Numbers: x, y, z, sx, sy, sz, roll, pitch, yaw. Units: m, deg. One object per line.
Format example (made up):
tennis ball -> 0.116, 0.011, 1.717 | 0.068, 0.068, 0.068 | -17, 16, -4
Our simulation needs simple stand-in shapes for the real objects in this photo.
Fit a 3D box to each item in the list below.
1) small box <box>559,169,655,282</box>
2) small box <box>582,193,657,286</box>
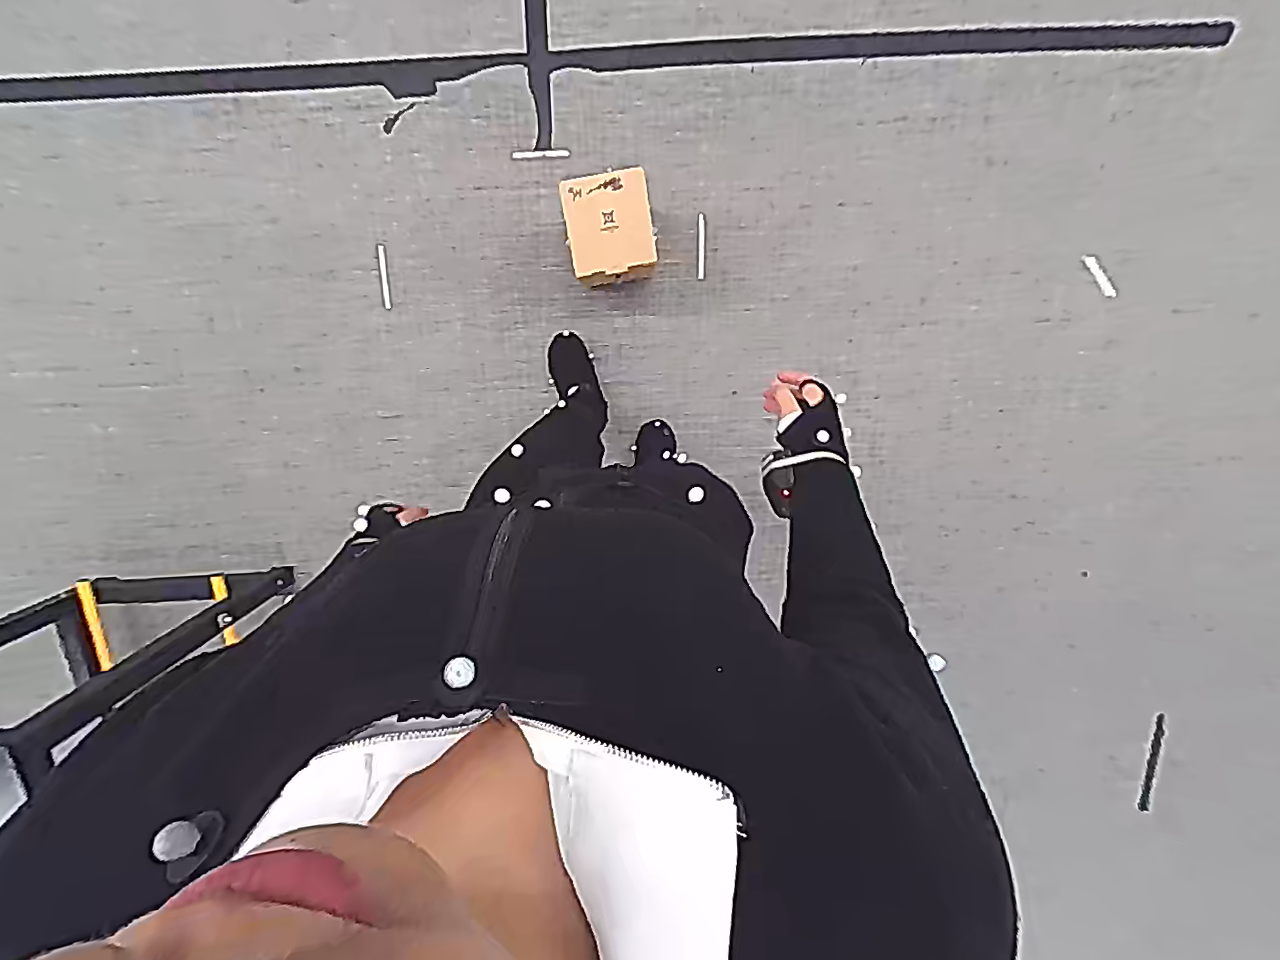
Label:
small box -> -0.061, -0.512, 1.114 | 0.168, 0.176, 0.179 | -9, 105, 2
small box -> -0.060, -0.560, 1.271 | 0.179, 0.176, 0.168 | -8, 104, 2
